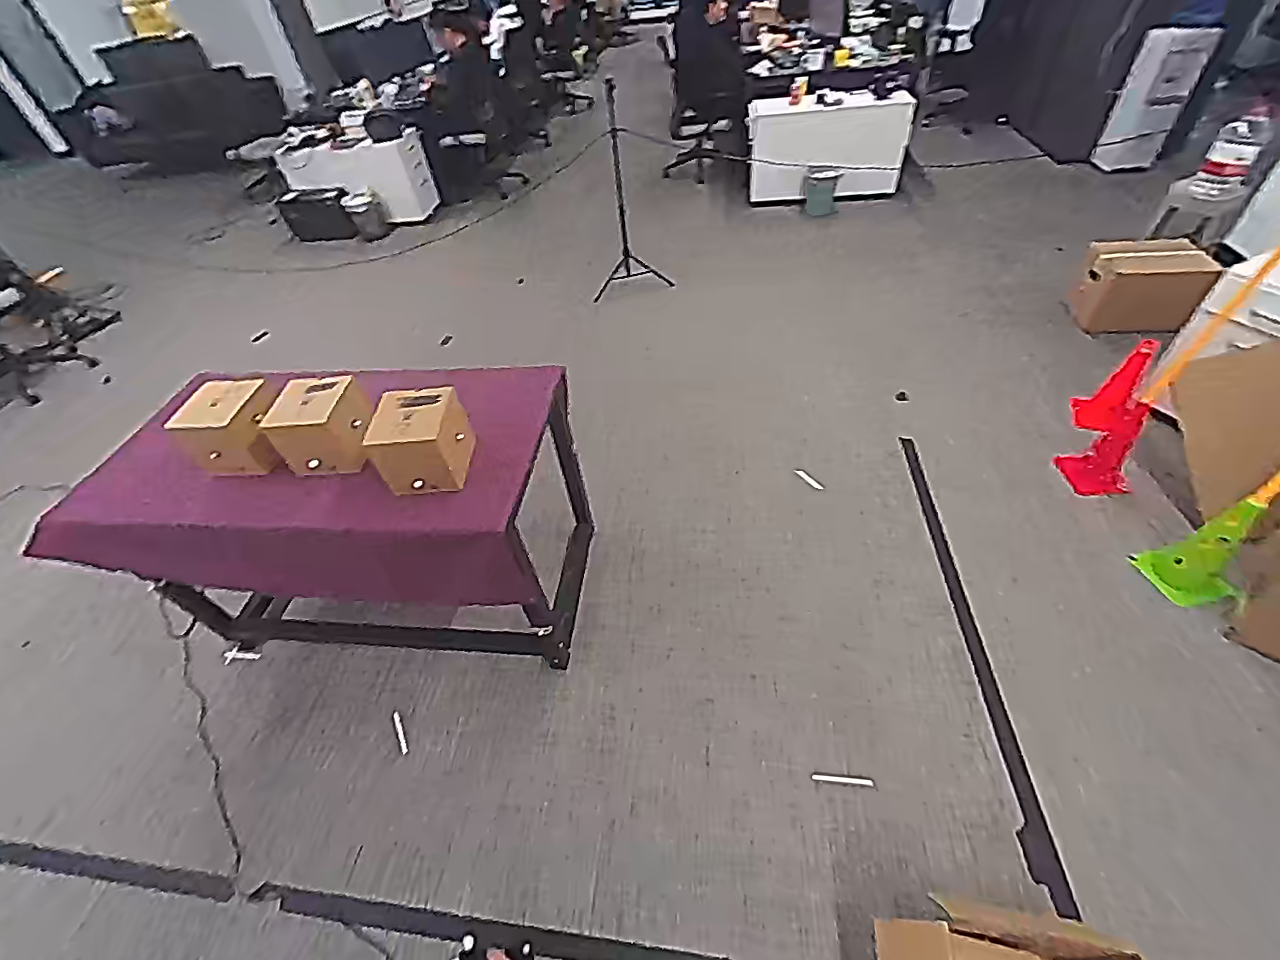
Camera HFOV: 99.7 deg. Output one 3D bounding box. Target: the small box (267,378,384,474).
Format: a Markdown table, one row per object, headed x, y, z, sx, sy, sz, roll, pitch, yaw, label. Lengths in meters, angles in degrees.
| x | y | z | sx | sy | sz | roll | pitch | yaw | label |
| --- | --- | --- | --- | --- | --- | --- | --- | --- | --- |
| -0.770 | -0.134 | 1.350 | 0.168 | 0.176 | 0.179 | -3 | 47 | 5 | small box |

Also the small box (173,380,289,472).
| x | y | z | sx | sy | sz | roll | pitch | yaw | label |
| --- | --- | --- | --- | --- | --- | --- | --- | --- | --- |
| -1.010 | -0.134 | 1.379 | 0.168 | 0.176 | 0.179 | 0 | 47 | 7 | small box |
